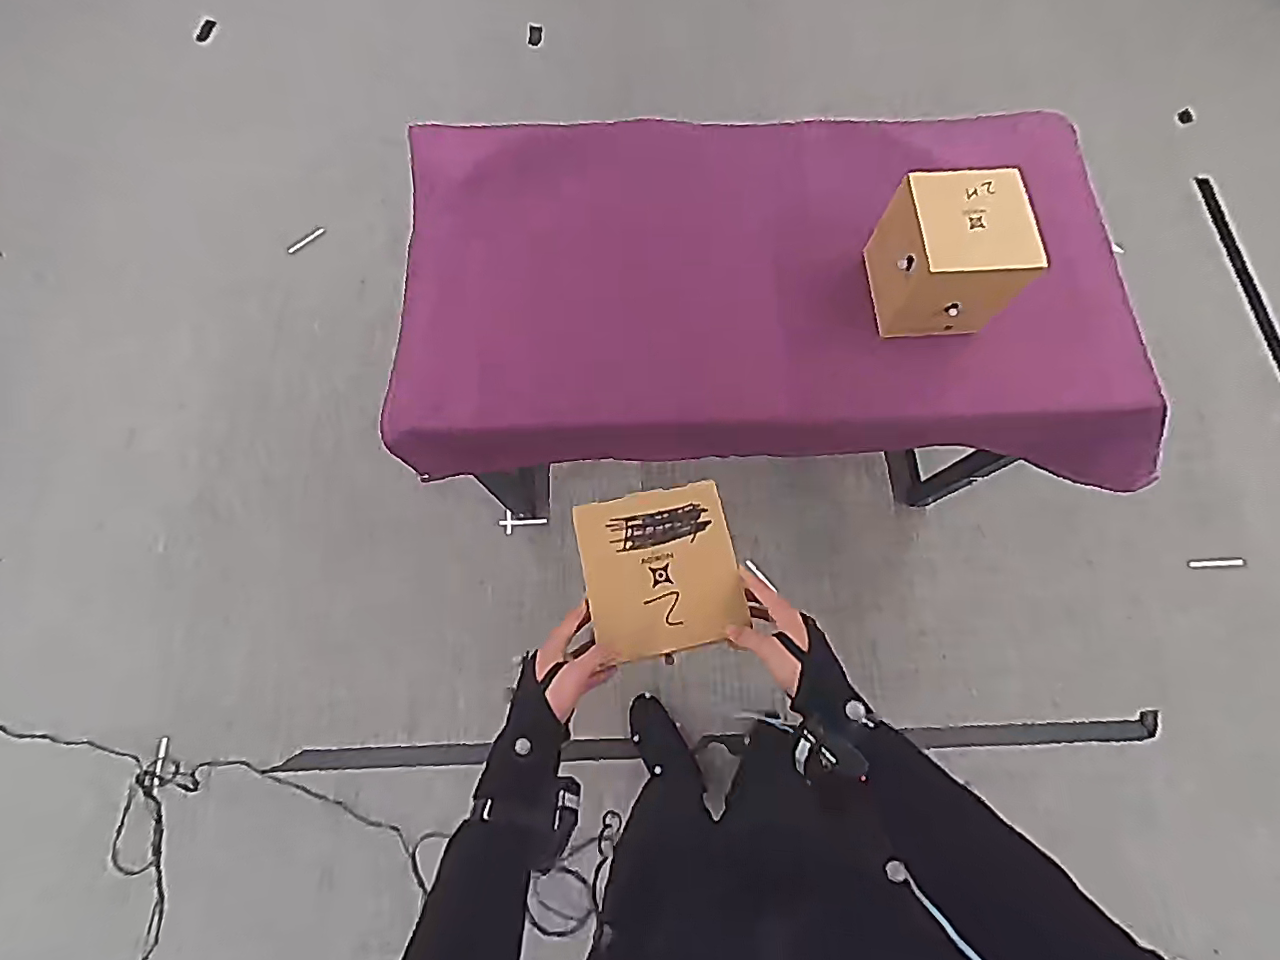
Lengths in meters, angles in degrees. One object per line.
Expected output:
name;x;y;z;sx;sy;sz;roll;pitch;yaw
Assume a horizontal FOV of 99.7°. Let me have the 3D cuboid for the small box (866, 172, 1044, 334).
small box;0.474;-0.342;0.844;0.168;0.176;0.179;-2;73;-1
